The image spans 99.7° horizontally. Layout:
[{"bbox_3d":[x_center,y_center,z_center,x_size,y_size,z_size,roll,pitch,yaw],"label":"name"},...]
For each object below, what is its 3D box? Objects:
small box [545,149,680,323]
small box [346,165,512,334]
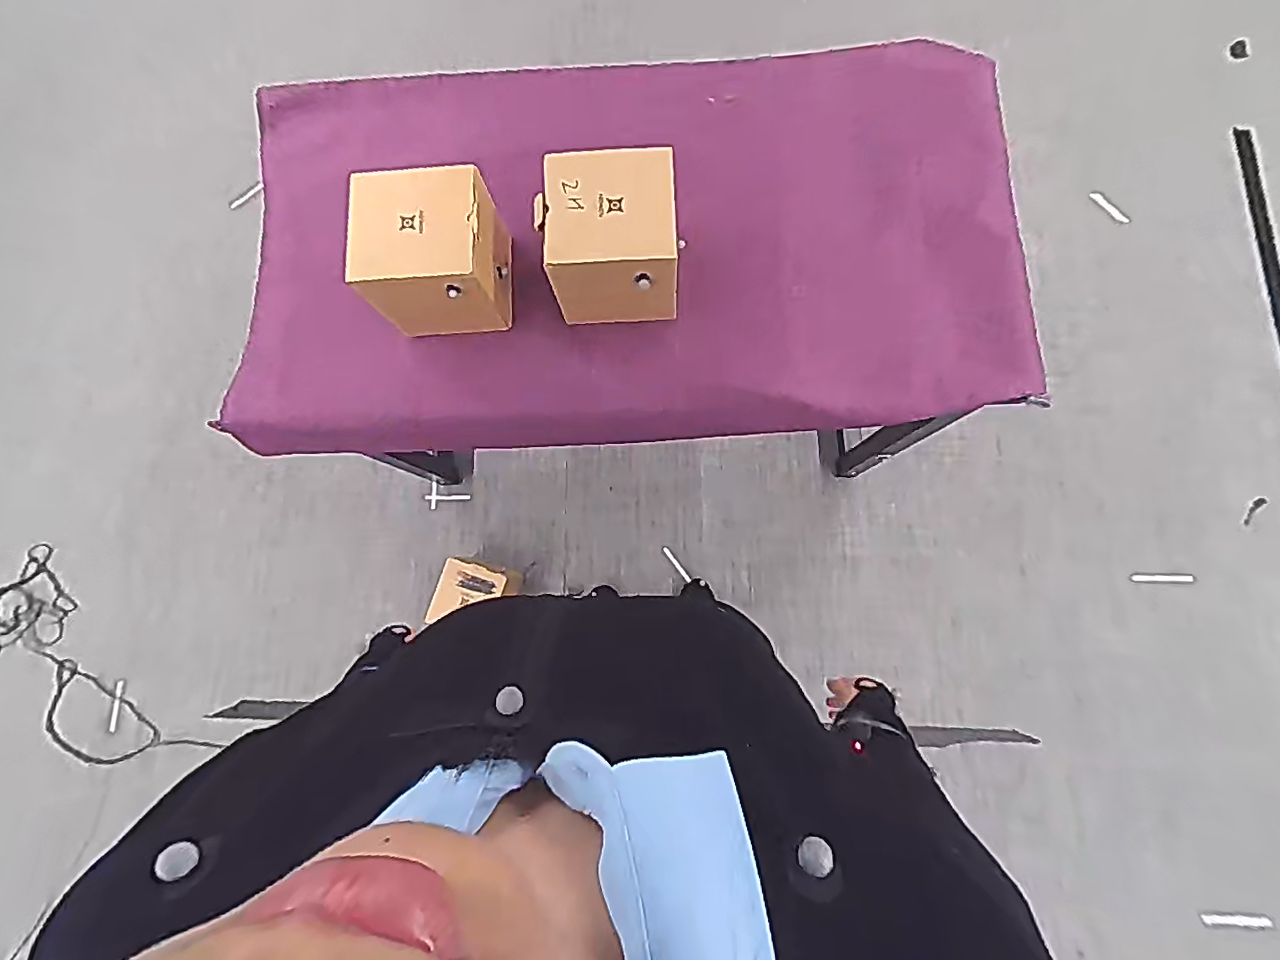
[{"bbox_3d":[-0.034,-0.343,0.787,0.179,0.176,0.168,-2,79,3],"label":"small box"},{"bbox_3d":[-0.300,-0.328,0.801,0.179,0.176,0.168,-4,79,2],"label":"small box"}]
